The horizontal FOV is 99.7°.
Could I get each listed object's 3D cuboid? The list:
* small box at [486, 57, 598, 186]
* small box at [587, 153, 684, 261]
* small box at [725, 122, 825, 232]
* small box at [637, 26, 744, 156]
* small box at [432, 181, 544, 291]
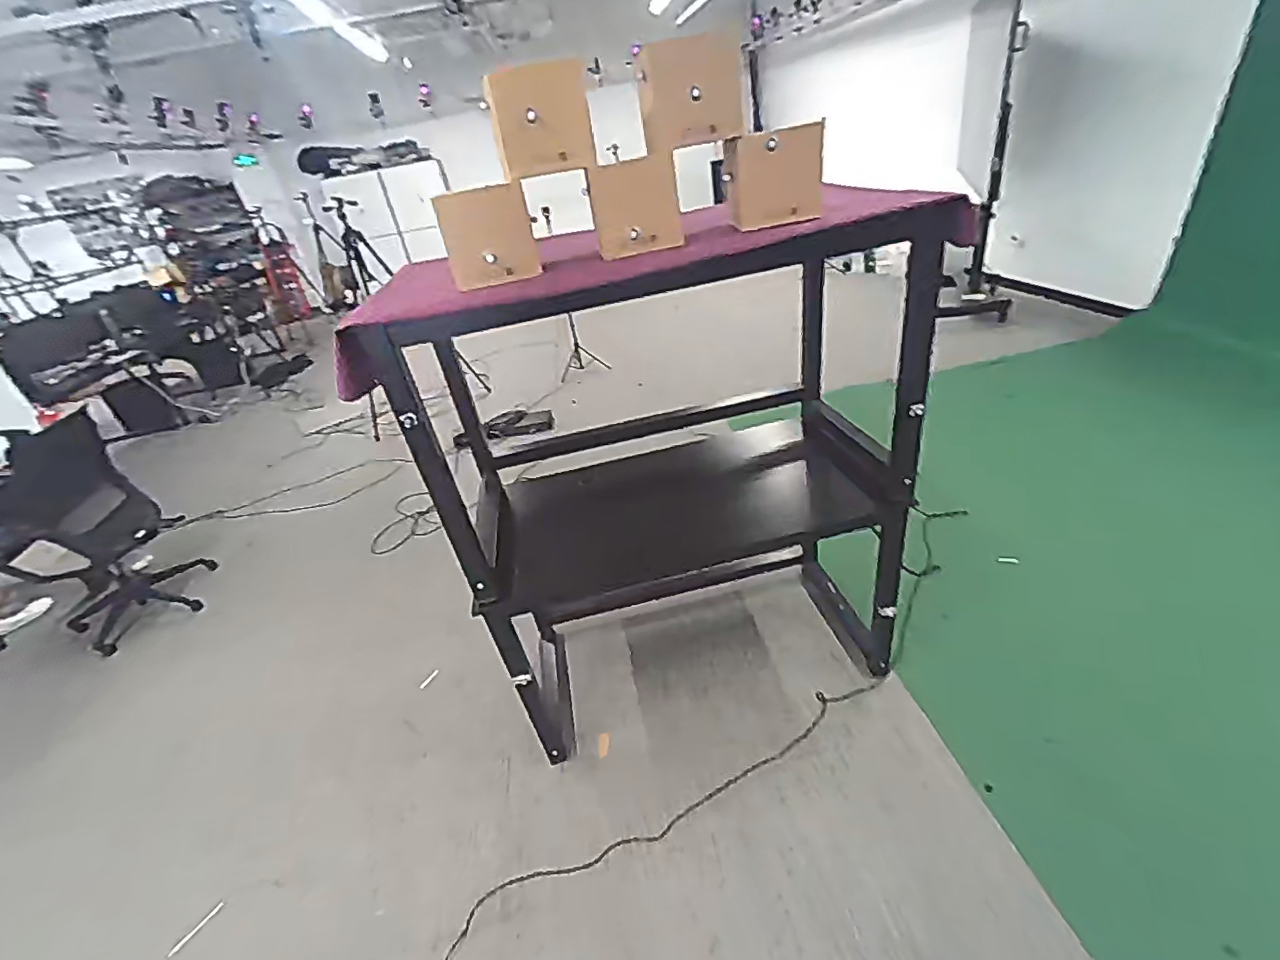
[{"bbox_3d":[-0.183,-0.660,1.014,0.168,0.176,0.179,-15,30,-9],"label":"small box"},{"bbox_3d":[-0.011,-0.557,1.107,0.168,0.176,0.179,-12,32,-1],"label":"small box"},{"bbox_3d":[0.276,-0.622,1.120,0.168,0.176,0.179,-10,30,4],"label":"small box"},{"bbox_3d":[0.096,-0.730,1.034,0.168,0.176,0.179,-12,31,-1],"label":"small box"},{"bbox_3d":[-0.290,-0.484,1.070,0.168,0.176,0.179,-14,32,-5],"label":"small box"}]
